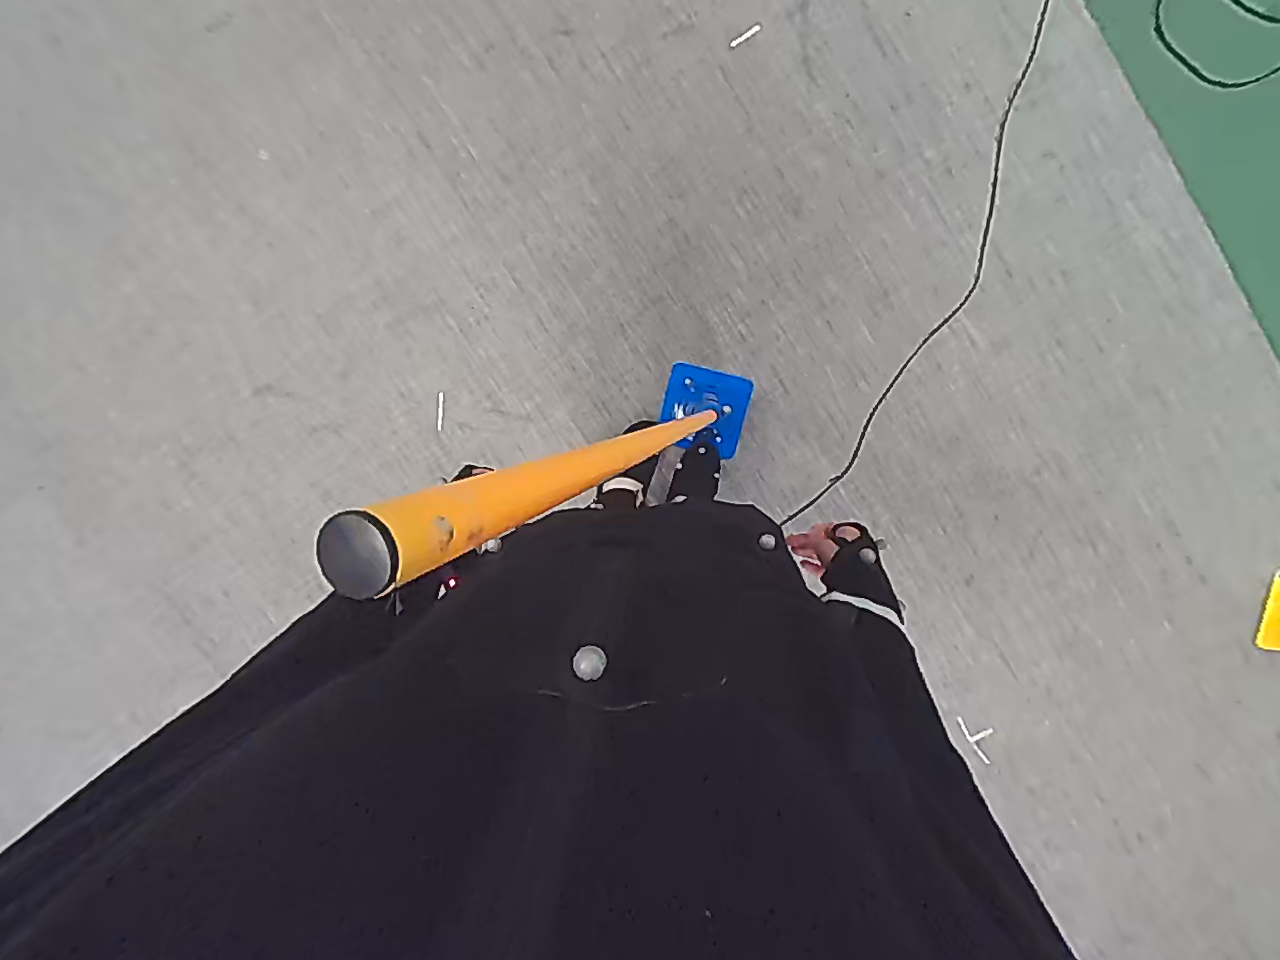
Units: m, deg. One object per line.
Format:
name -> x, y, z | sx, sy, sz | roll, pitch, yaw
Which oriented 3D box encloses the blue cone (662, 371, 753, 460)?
blue cone -> 0.139, -0.126, 1.103 | 0.193, 0.380, 0.192 | 14, 99, 4
